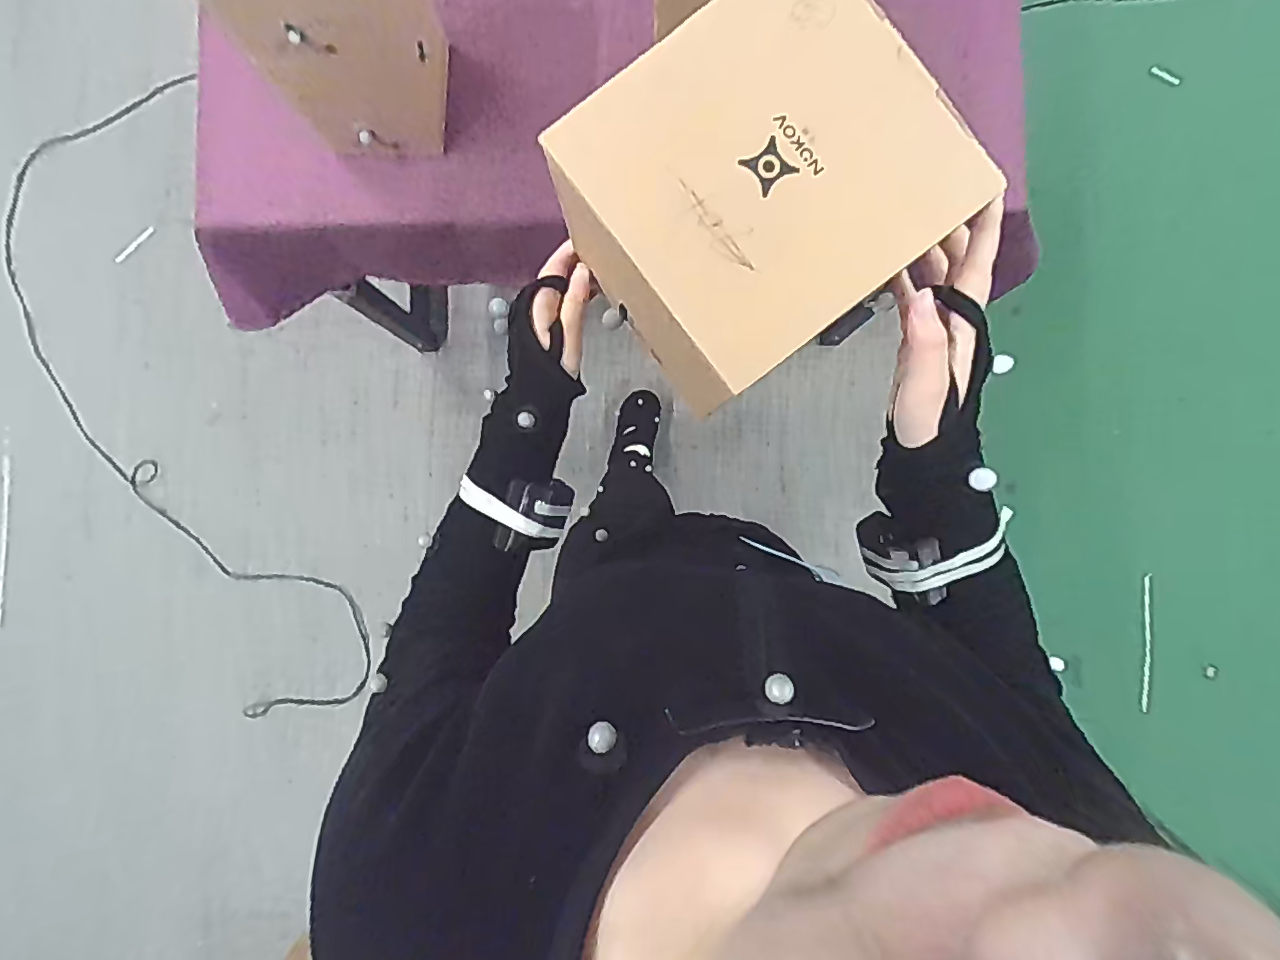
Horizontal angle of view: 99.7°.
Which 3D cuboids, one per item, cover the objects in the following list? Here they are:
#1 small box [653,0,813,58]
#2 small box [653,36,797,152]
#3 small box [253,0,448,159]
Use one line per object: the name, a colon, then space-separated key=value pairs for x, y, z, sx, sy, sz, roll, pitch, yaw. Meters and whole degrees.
small box: x=0.098 y=-0.566 z=0.540 sx=0.168 sy=0.176 sz=0.179 roll=0 pitch=87 yaw=0
small box: x=0.103 y=-0.560 z=0.706 sx=0.168 sy=0.176 sz=0.179 roll=1 pitch=89 yaw=0
small box: x=-0.363 y=-0.561 z=0.708 sx=0.168 sy=0.176 sz=0.179 roll=2 pitch=89 yaw=0
